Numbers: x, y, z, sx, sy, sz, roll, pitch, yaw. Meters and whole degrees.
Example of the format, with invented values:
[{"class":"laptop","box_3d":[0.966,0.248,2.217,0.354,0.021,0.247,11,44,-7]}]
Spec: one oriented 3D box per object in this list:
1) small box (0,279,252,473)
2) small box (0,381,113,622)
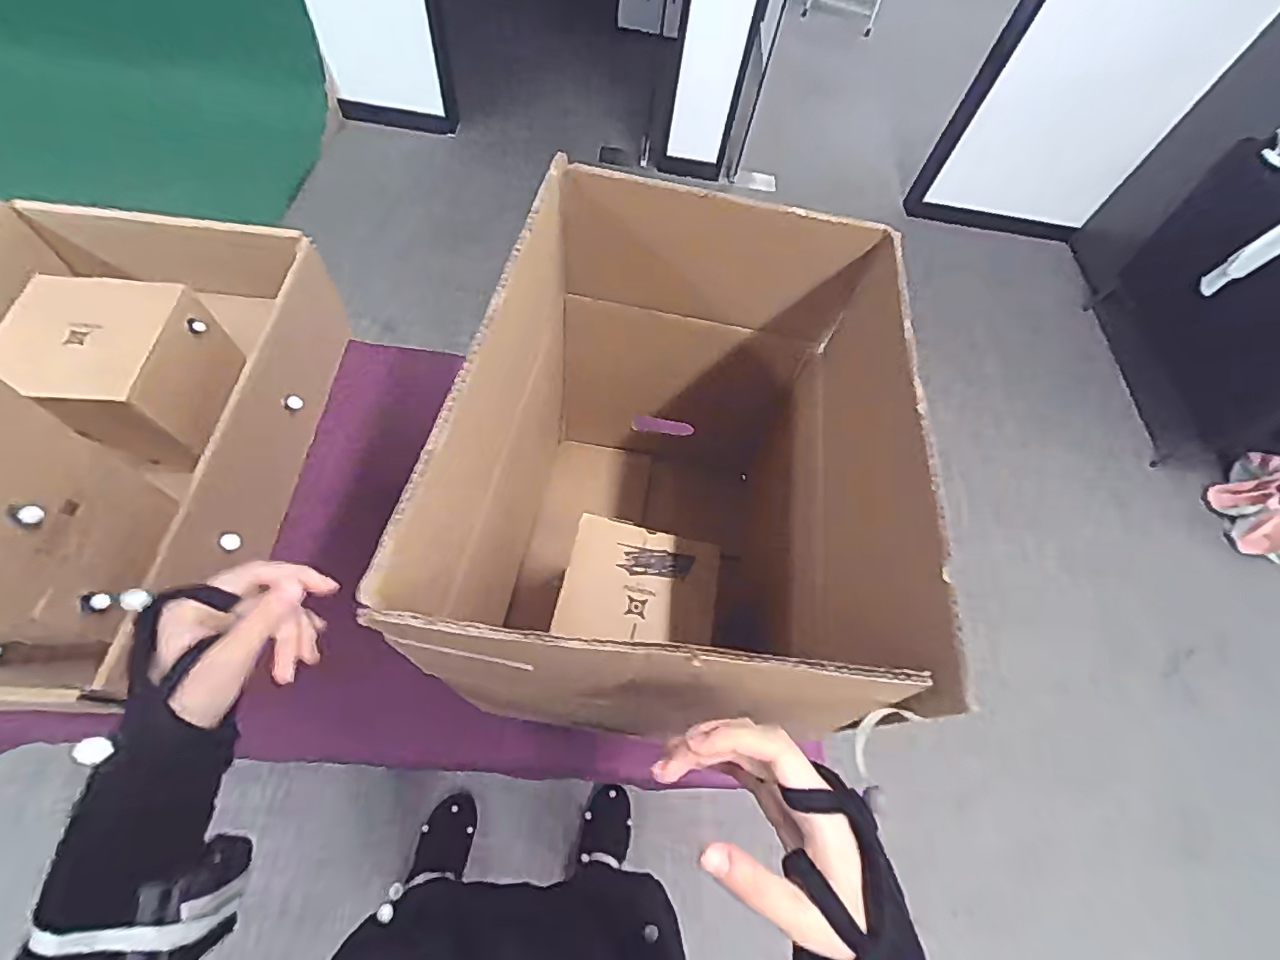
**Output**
[{"class":"small box","box_3d":[-0.631,-0.121,0.675,0.168,0.176,0.179,2,61,-5]},{"class":"small box","box_3d":[-0.592,0.009,0.417,0.179,0.176,0.168,5,61,-5]}]
